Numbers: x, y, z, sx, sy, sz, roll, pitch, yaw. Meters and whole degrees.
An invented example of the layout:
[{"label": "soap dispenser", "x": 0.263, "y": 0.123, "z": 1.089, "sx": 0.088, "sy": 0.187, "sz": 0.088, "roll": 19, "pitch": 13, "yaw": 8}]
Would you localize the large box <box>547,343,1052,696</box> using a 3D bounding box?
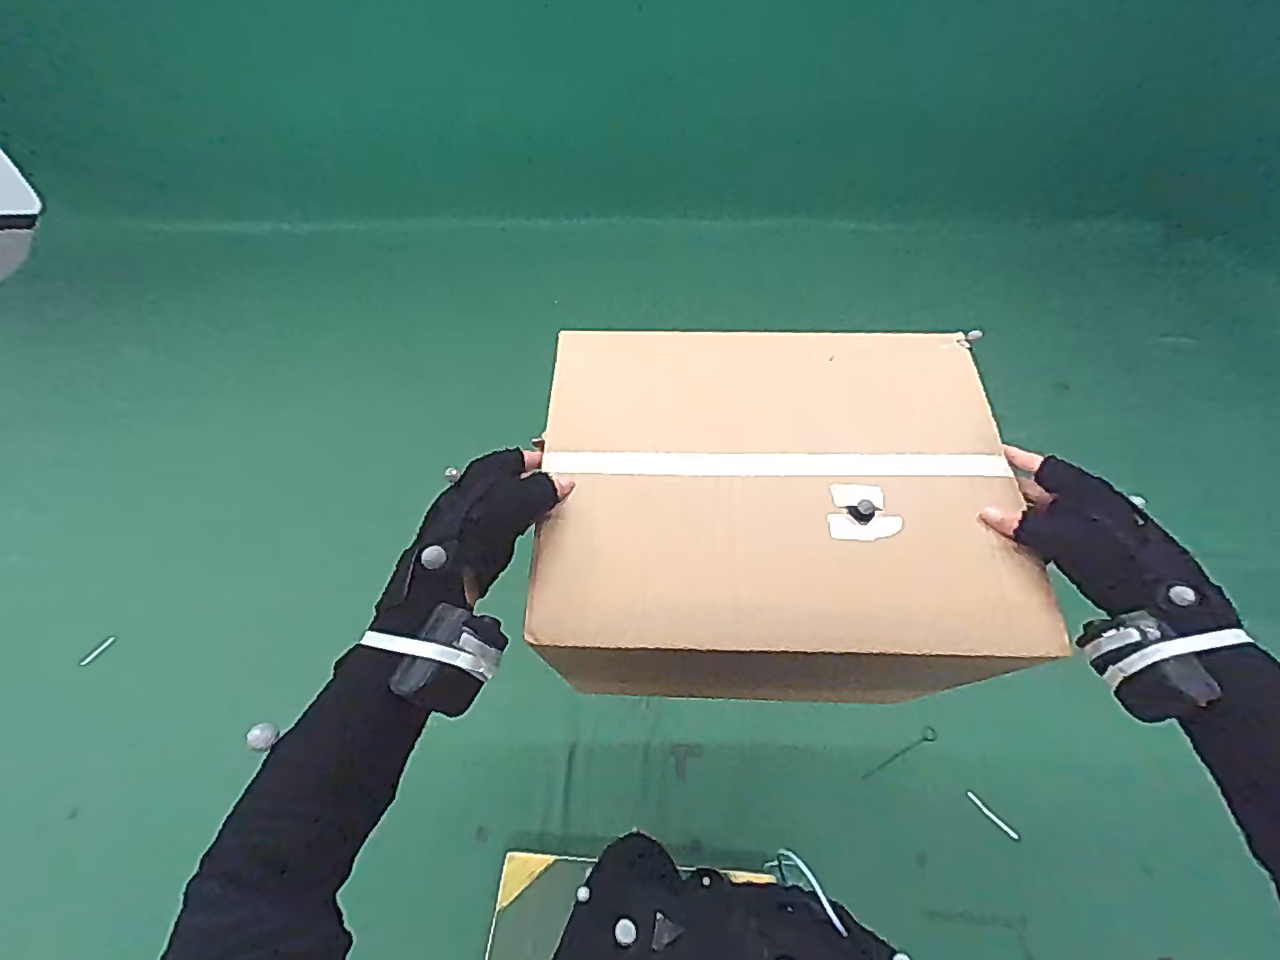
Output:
[{"label": "large box", "x": 0.123, "y": 0.064, "z": 0.620, "sx": 0.408, "sy": 0.320, "sz": 0.320, "roll": 1, "pitch": 62, "yaw": 1}]
